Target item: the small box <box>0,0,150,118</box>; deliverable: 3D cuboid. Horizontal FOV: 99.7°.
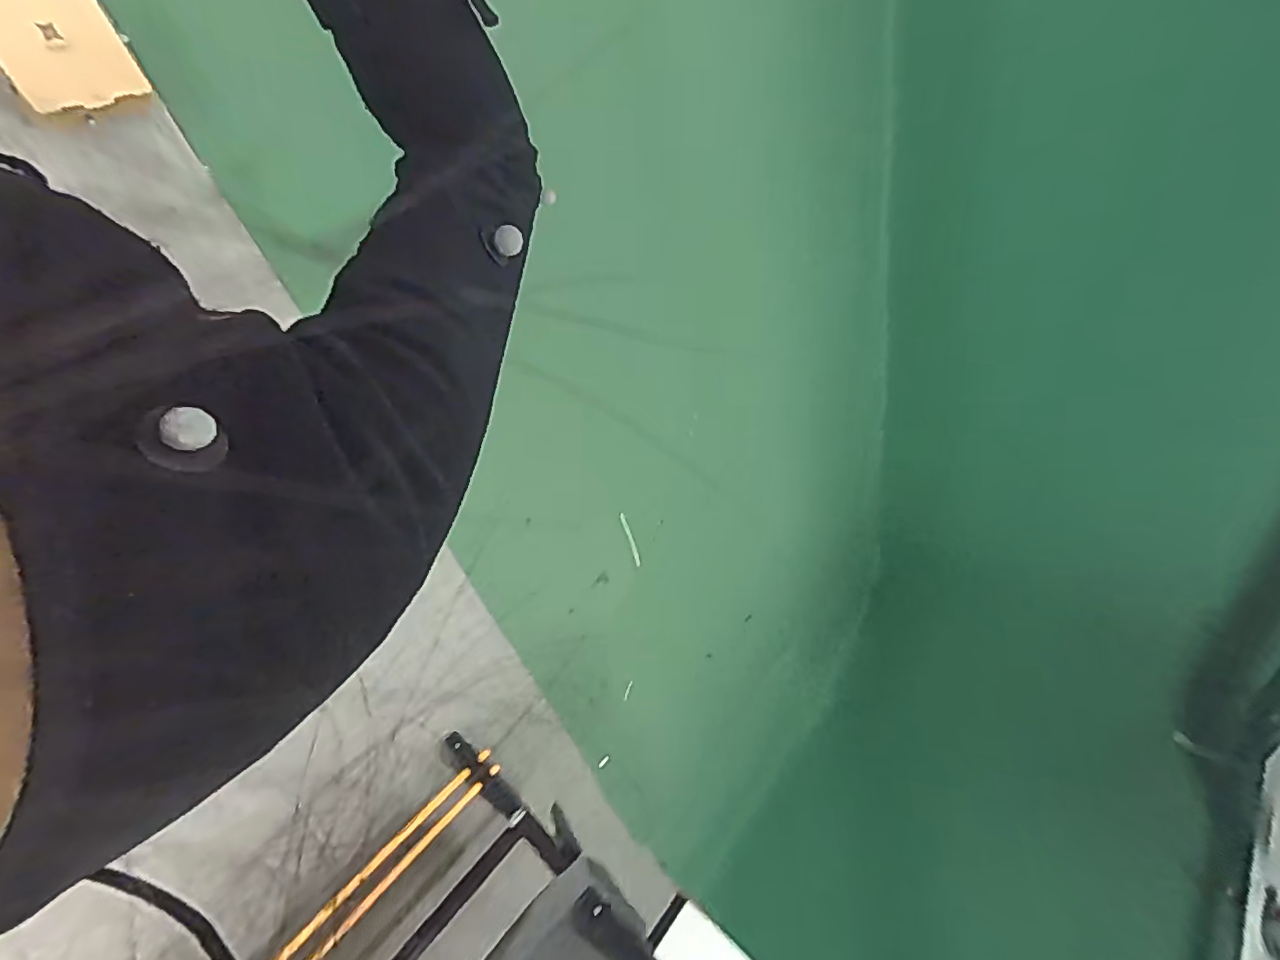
[{"bbox_3d":[-0.945,-0.707,0.860,0.168,0.176,0.179,-41,133,-28],"label":"small box"}]
